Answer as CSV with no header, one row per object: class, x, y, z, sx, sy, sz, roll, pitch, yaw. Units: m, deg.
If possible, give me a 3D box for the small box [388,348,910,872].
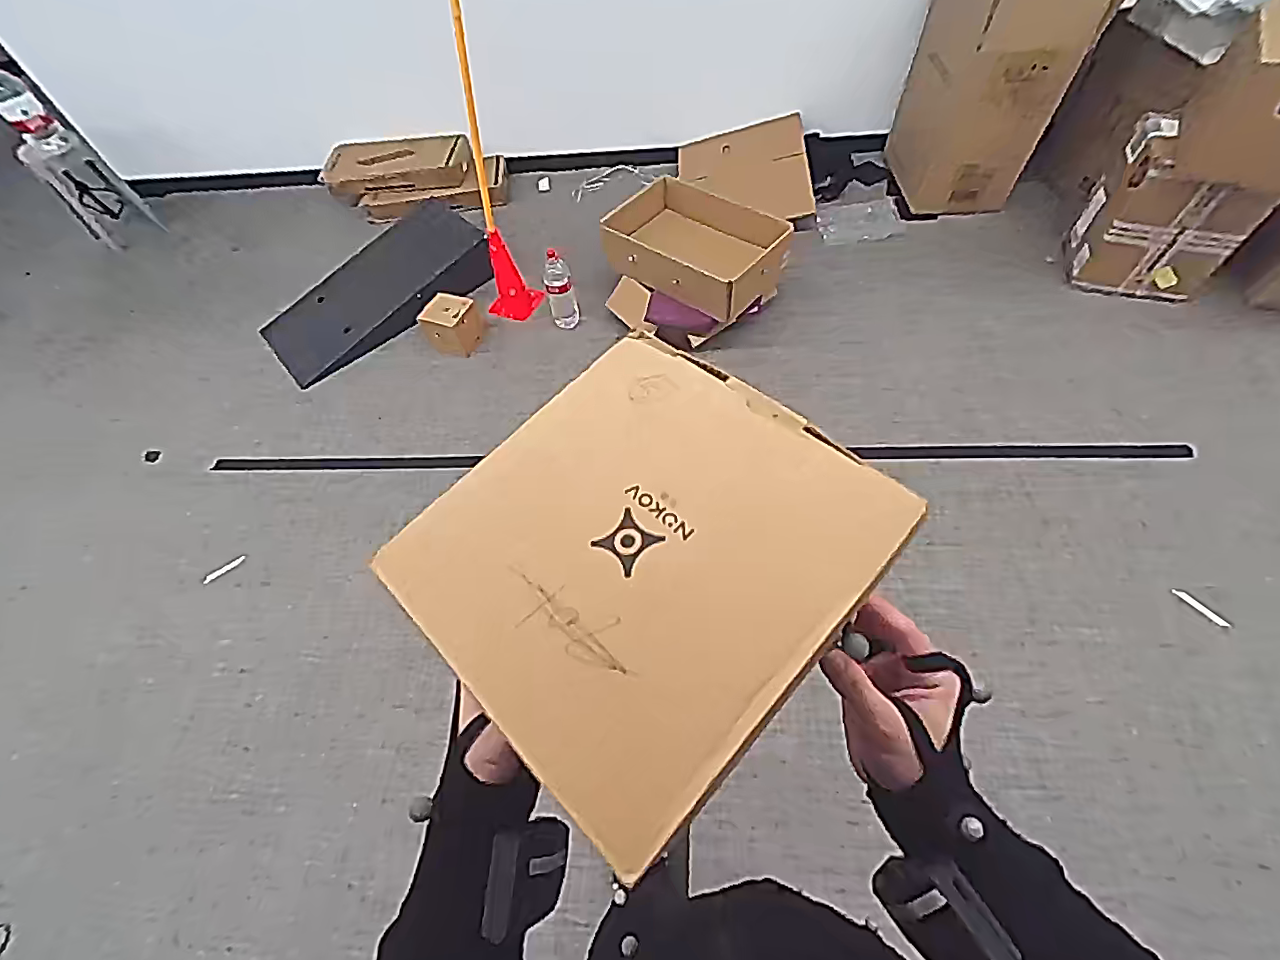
small box,0.010,0.068,0.305,0.168,0.176,0.179,37,73,26
